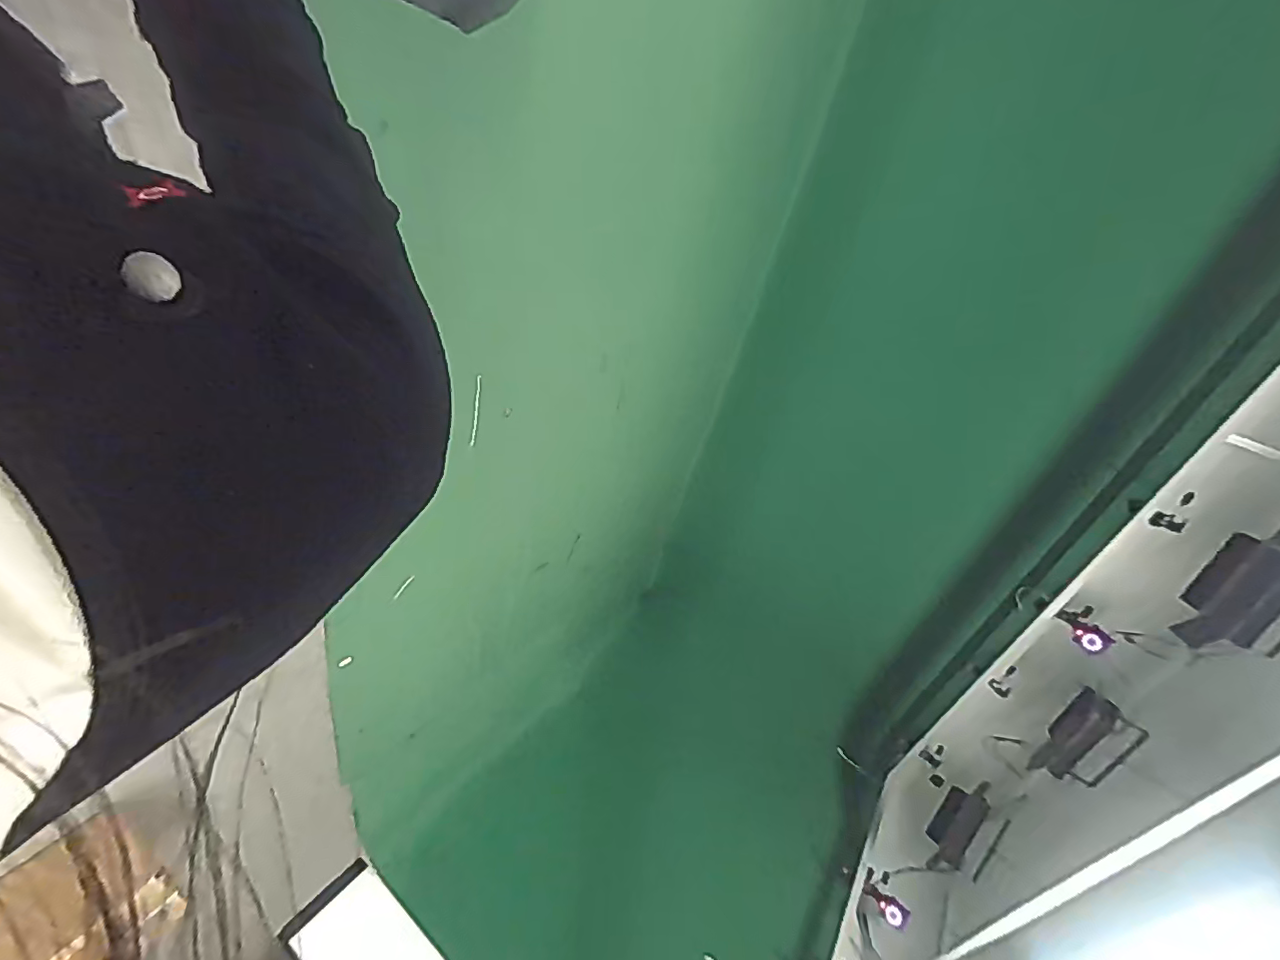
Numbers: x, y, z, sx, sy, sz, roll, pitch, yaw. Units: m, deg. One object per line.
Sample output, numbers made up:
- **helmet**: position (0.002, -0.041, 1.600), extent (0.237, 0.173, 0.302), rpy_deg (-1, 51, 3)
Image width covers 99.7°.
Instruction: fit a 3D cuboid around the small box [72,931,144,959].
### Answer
- **small box**: position (-1.474, 1.383, 1.461), extent (0.179, 0.176, 0.168), rpy_deg (-39, 150, -38)
